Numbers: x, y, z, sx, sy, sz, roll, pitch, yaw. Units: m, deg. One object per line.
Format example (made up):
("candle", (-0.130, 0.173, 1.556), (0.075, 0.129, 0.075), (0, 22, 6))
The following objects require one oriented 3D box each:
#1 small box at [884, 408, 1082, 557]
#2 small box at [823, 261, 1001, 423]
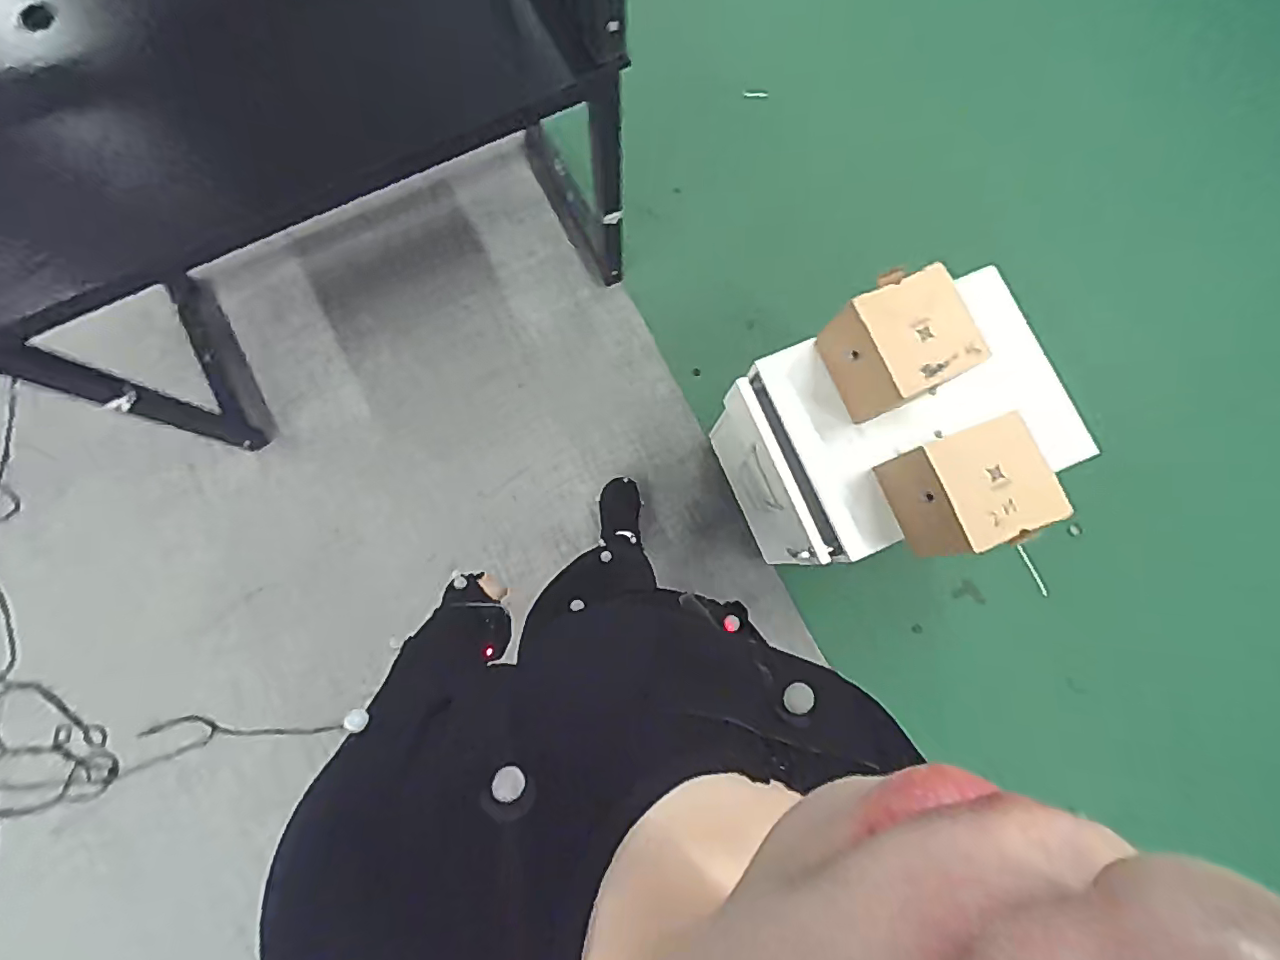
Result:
("small box", (0.522, 0.013, 0.854), (0.168, 0.176, 0.179), (-21, 81, -4))
("small box", (0.431, -0.218, 0.892), (0.168, 0.176, 0.179), (-24, 83, -5))
